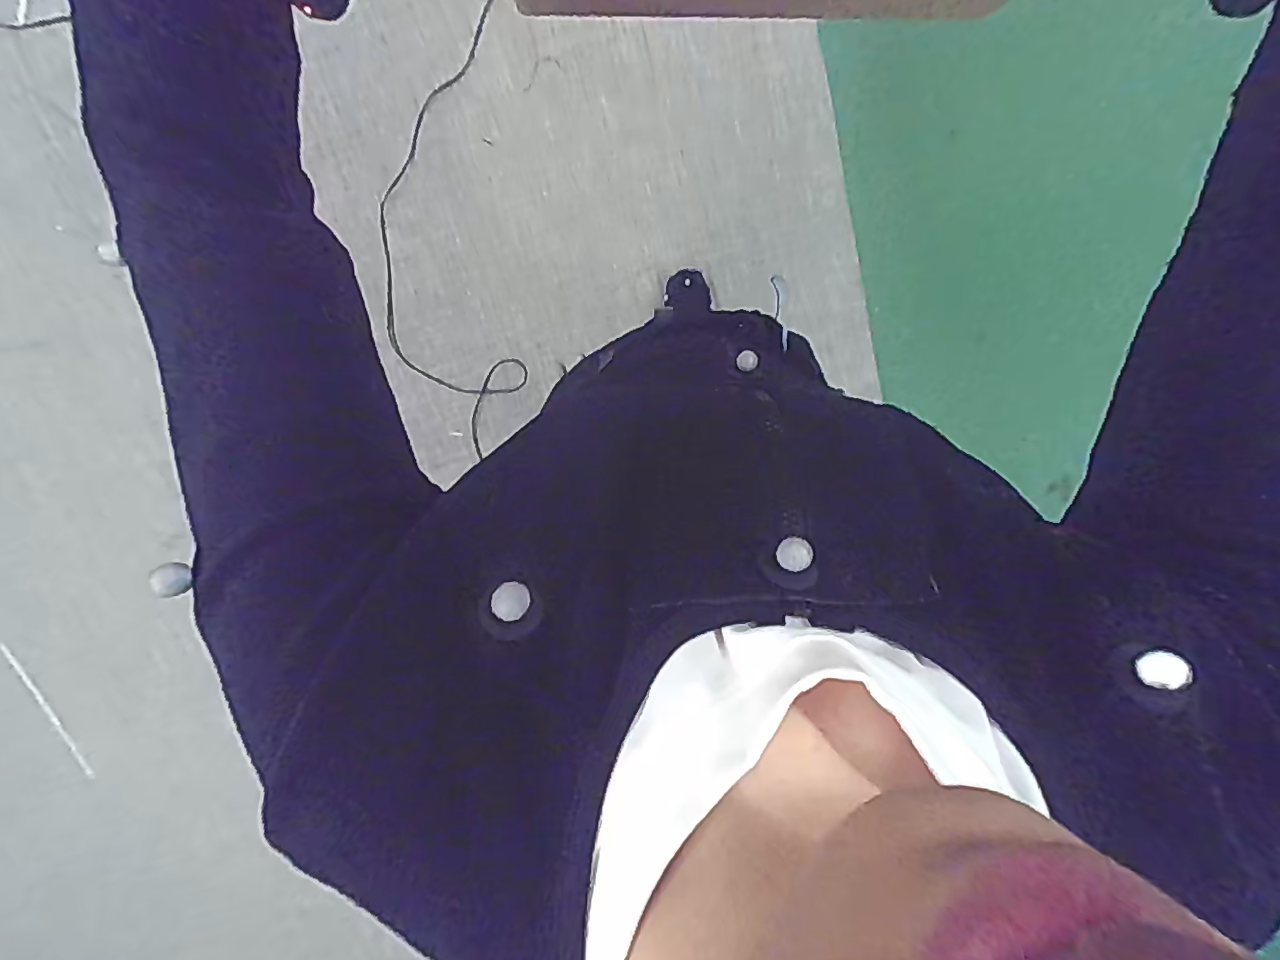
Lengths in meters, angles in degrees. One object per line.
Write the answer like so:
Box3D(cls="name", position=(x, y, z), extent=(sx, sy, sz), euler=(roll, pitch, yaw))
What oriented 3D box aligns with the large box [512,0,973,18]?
Box3D(cls="large box", position=(0.086, -0.503, 0.280), extent=(0.408, 0.320, 0.320), euler=(0, 108, 0))
